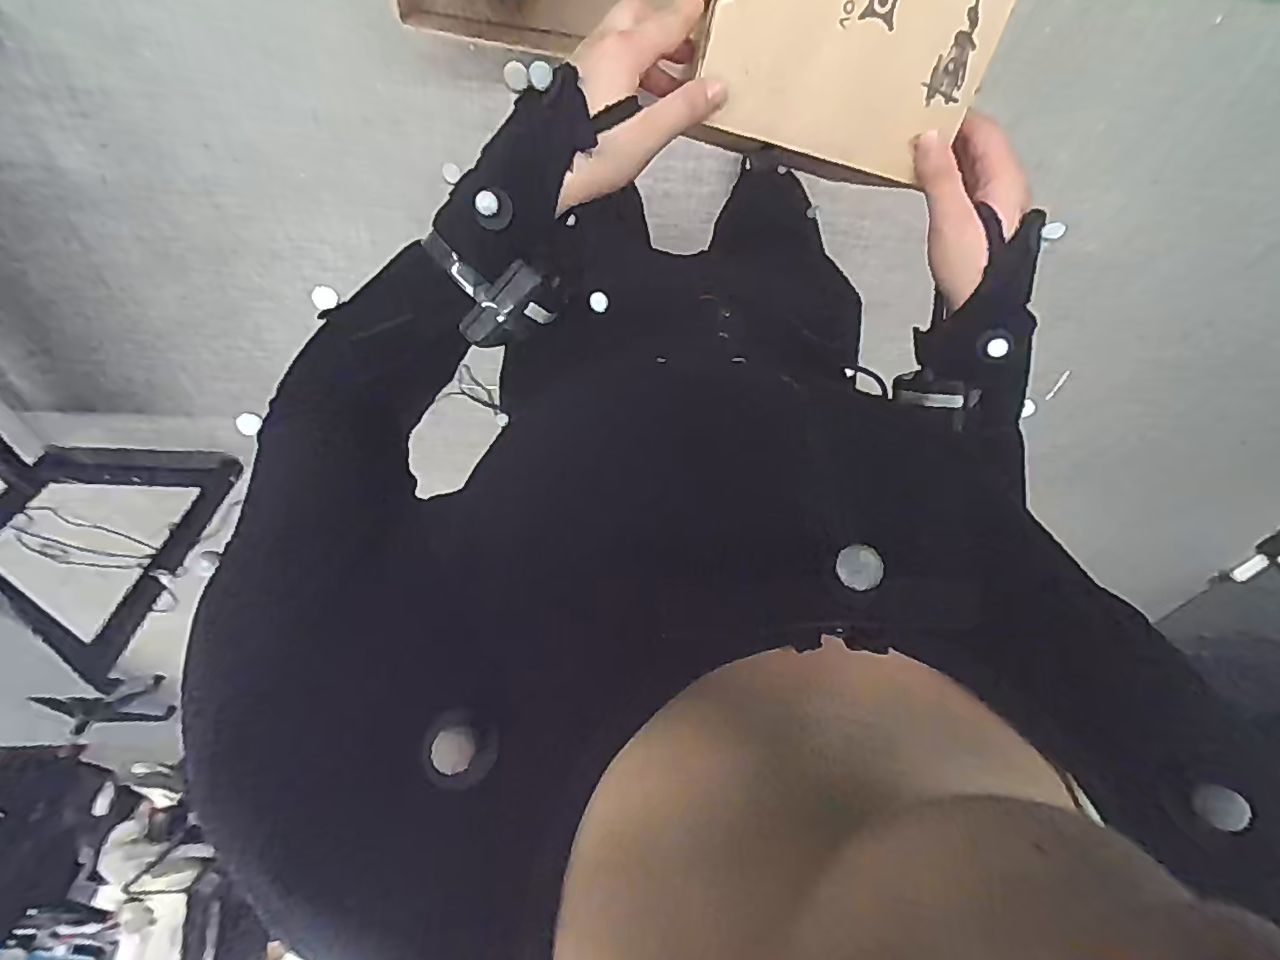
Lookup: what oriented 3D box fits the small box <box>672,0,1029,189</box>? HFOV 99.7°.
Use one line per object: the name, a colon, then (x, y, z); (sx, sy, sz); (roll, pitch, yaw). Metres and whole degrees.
small box: (0.129, -0.313, 0.372); (0.179, 0.176, 0.168); (9, 120, -11)
